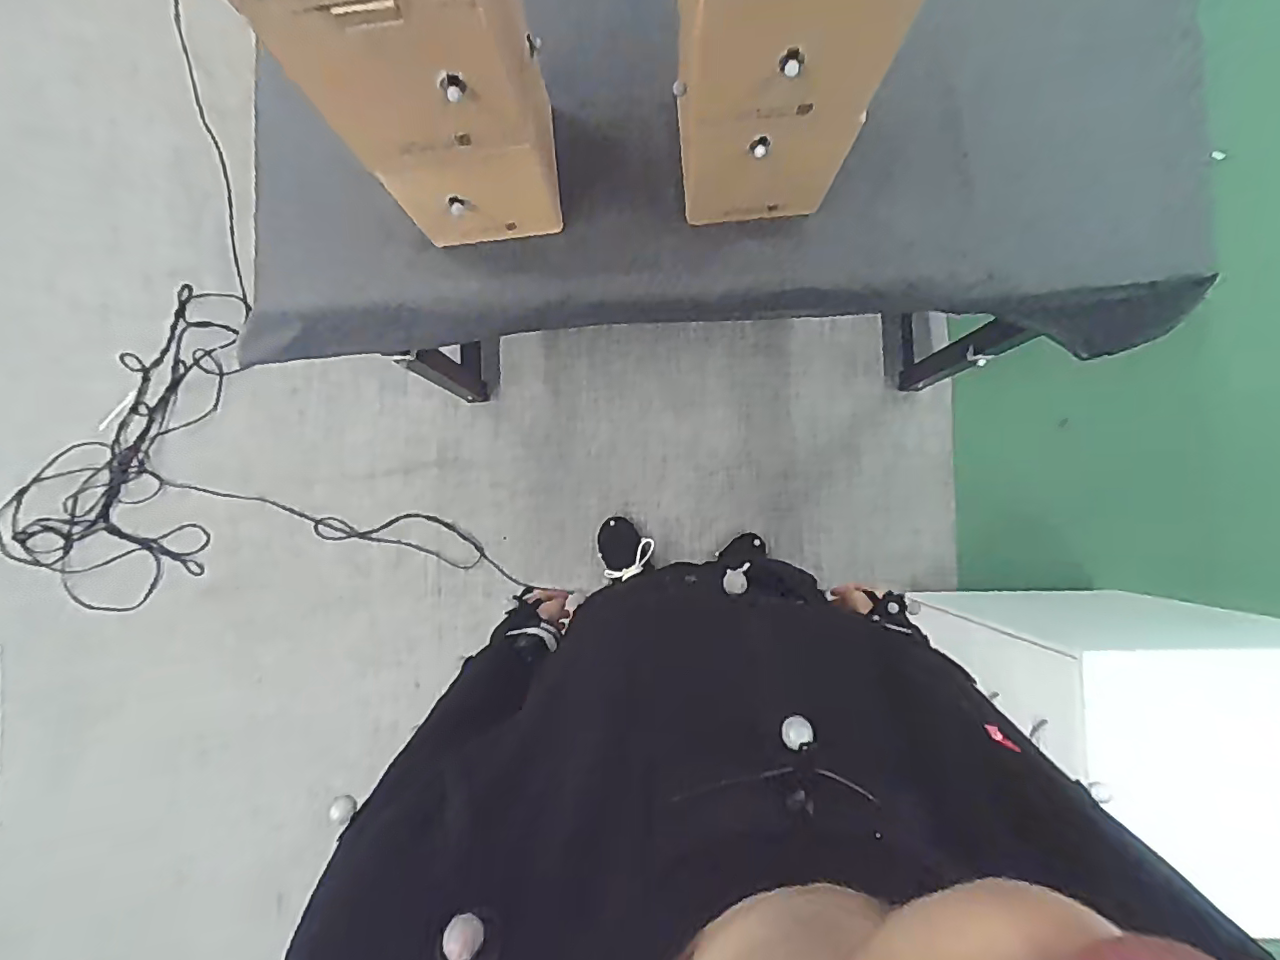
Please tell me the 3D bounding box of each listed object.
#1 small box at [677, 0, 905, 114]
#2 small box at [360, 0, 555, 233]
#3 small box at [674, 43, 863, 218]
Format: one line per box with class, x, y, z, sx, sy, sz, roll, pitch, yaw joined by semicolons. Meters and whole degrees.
small box;0.118;-0.431;0.437;0.168;0.176;0.179;-5;87;0
small box;-0.196;-0.399;0.607;0.168;0.176;0.179;-6;86;1
small box;0.128;-0.425;0.603;0.168;0.176;0.179;-5;86;1
